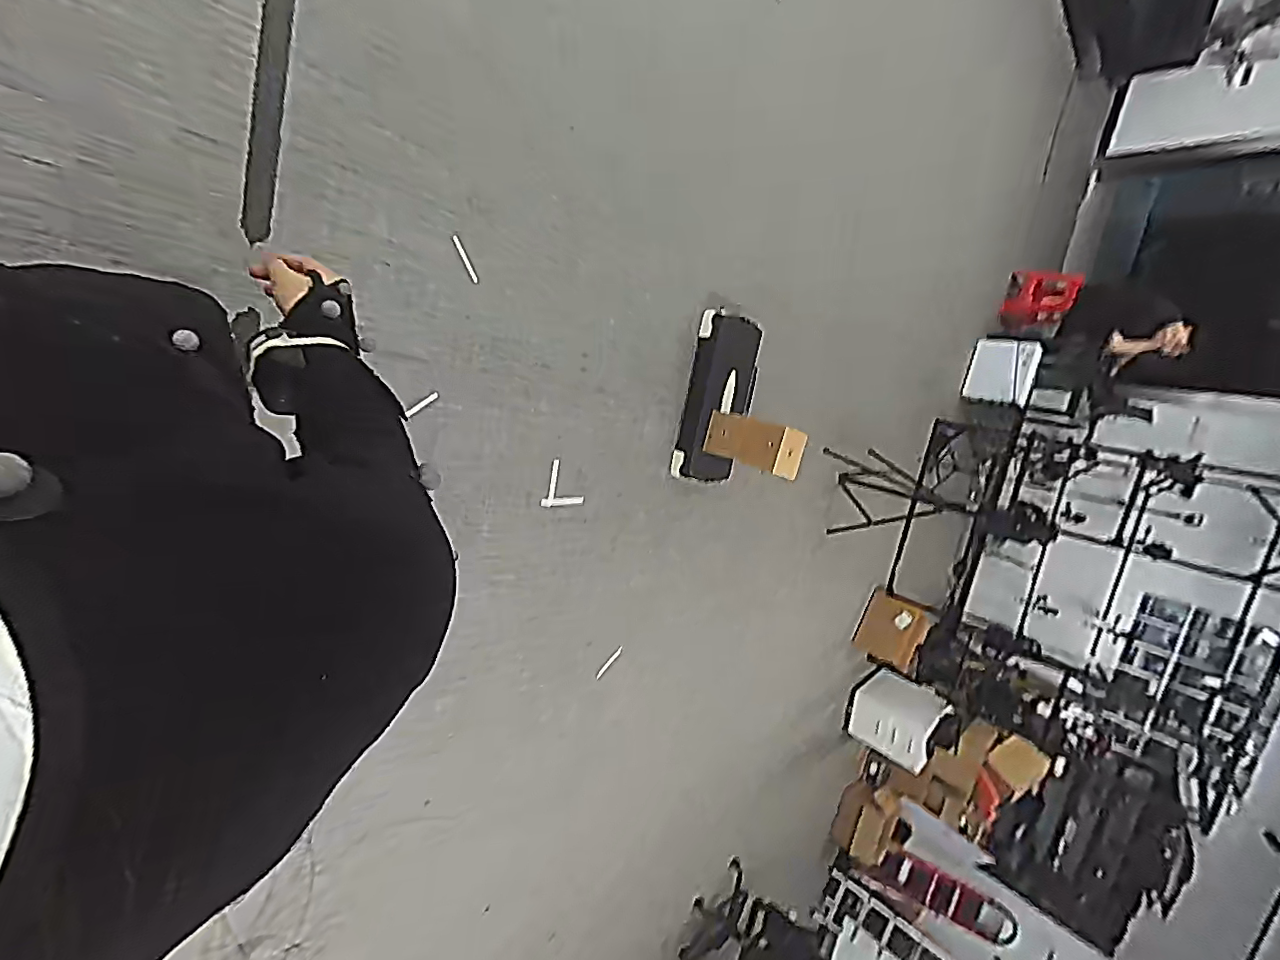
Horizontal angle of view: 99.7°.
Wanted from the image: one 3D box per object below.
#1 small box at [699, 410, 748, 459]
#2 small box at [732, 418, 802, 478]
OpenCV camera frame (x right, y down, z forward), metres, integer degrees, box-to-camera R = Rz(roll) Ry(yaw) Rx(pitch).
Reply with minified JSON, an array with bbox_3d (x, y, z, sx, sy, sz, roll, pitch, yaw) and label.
[{"bbox_3d":[0.357,-0.171,2.117,0.179,0.176,0.168,8,99,-46],"label":"small box"},{"bbox_3d":[0.466,-0.120,2.008,0.168,0.176,0.179,12,95,-46],"label":"small box"}]
